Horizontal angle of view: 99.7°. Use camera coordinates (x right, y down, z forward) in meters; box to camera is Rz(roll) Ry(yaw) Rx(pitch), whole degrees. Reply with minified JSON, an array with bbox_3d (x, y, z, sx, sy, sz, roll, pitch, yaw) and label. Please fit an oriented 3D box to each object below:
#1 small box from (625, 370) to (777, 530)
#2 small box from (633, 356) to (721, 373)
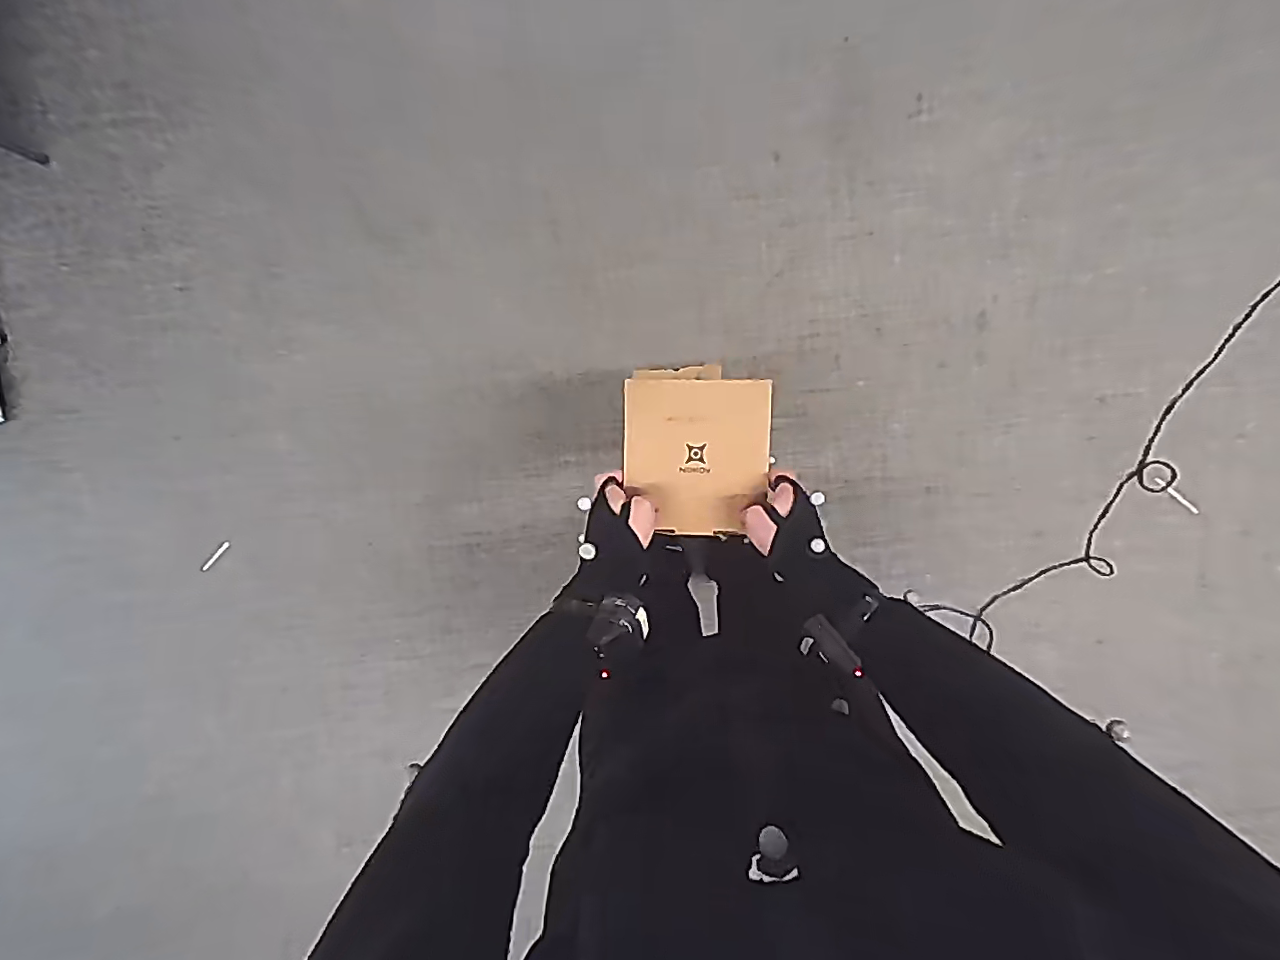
[{"bbox_3d":[0.070,-0.042,0.682,0.168,0.176,0.179,1,96,2],"label":"small box"},{"bbox_3d":[0.068,-0.146,1.071,0.168,0.176,0.179,-1,97,1],"label":"small box"}]
